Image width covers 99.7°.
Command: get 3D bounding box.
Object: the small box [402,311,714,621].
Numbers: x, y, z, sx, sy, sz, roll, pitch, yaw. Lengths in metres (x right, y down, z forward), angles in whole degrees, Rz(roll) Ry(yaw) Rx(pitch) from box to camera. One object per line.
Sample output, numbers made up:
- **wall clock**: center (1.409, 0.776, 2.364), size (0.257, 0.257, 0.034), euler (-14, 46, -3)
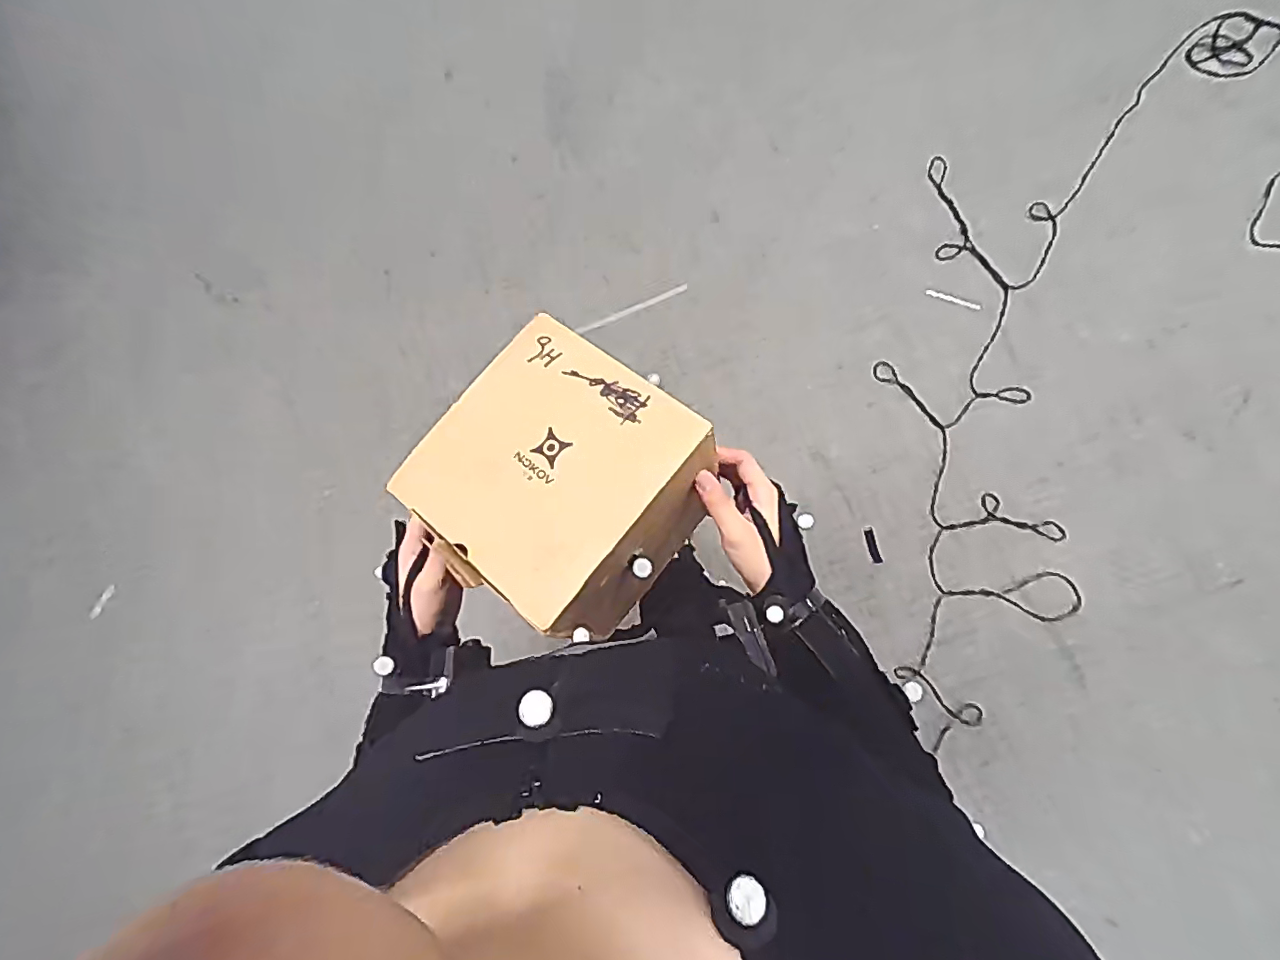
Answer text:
- **small box**: center (-0.049, 0.002, 0.458), size (0.168, 0.176, 0.179), euler (37, 82, 19)
